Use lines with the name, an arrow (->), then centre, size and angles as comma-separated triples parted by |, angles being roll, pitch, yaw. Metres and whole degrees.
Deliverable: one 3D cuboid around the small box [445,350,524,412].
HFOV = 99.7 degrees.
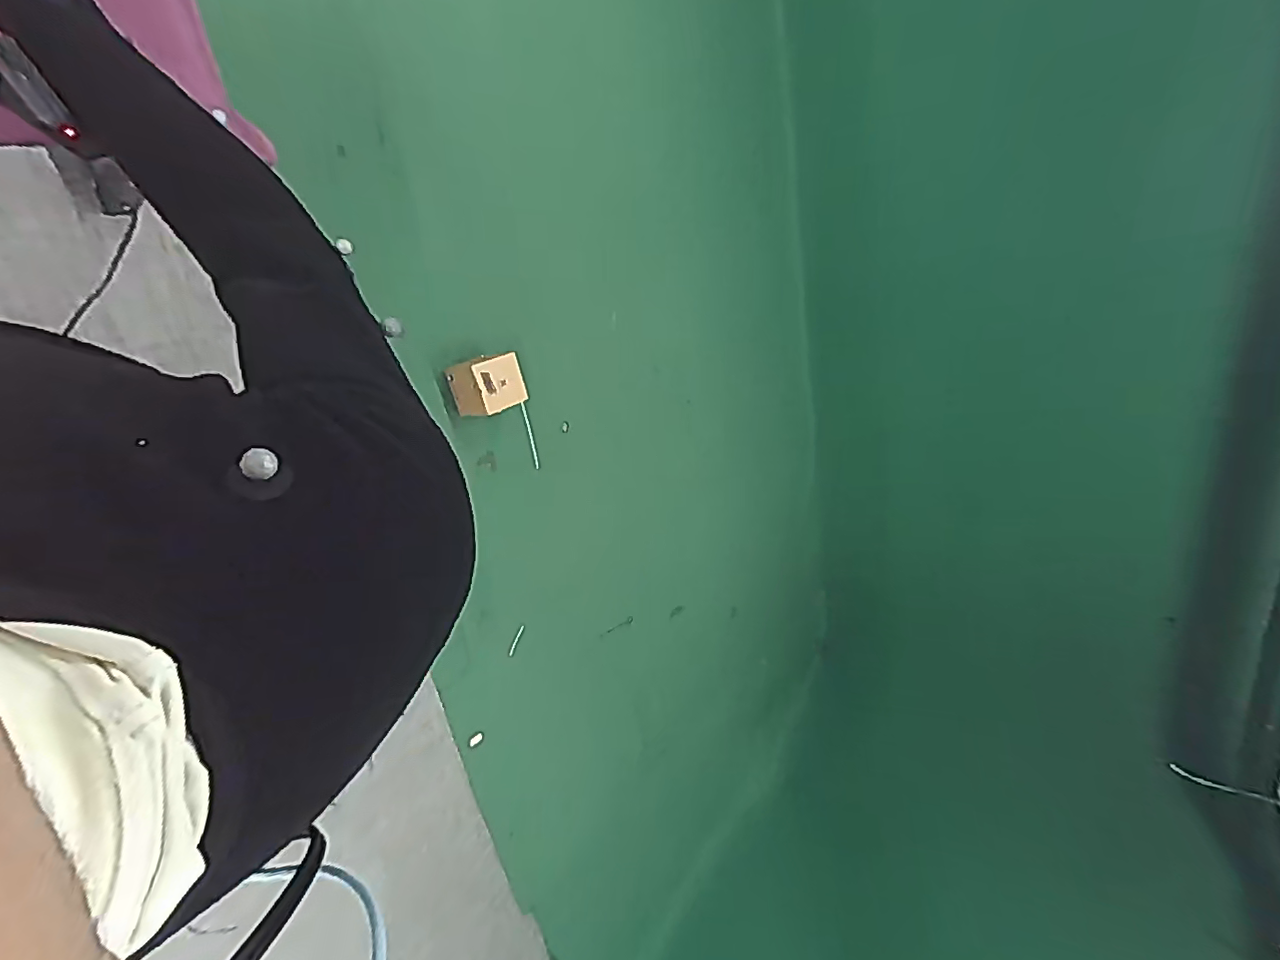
small box -> -0.526, -0.328, 1.807 | 0.179, 0.176, 0.168 | -34, 120, -43
